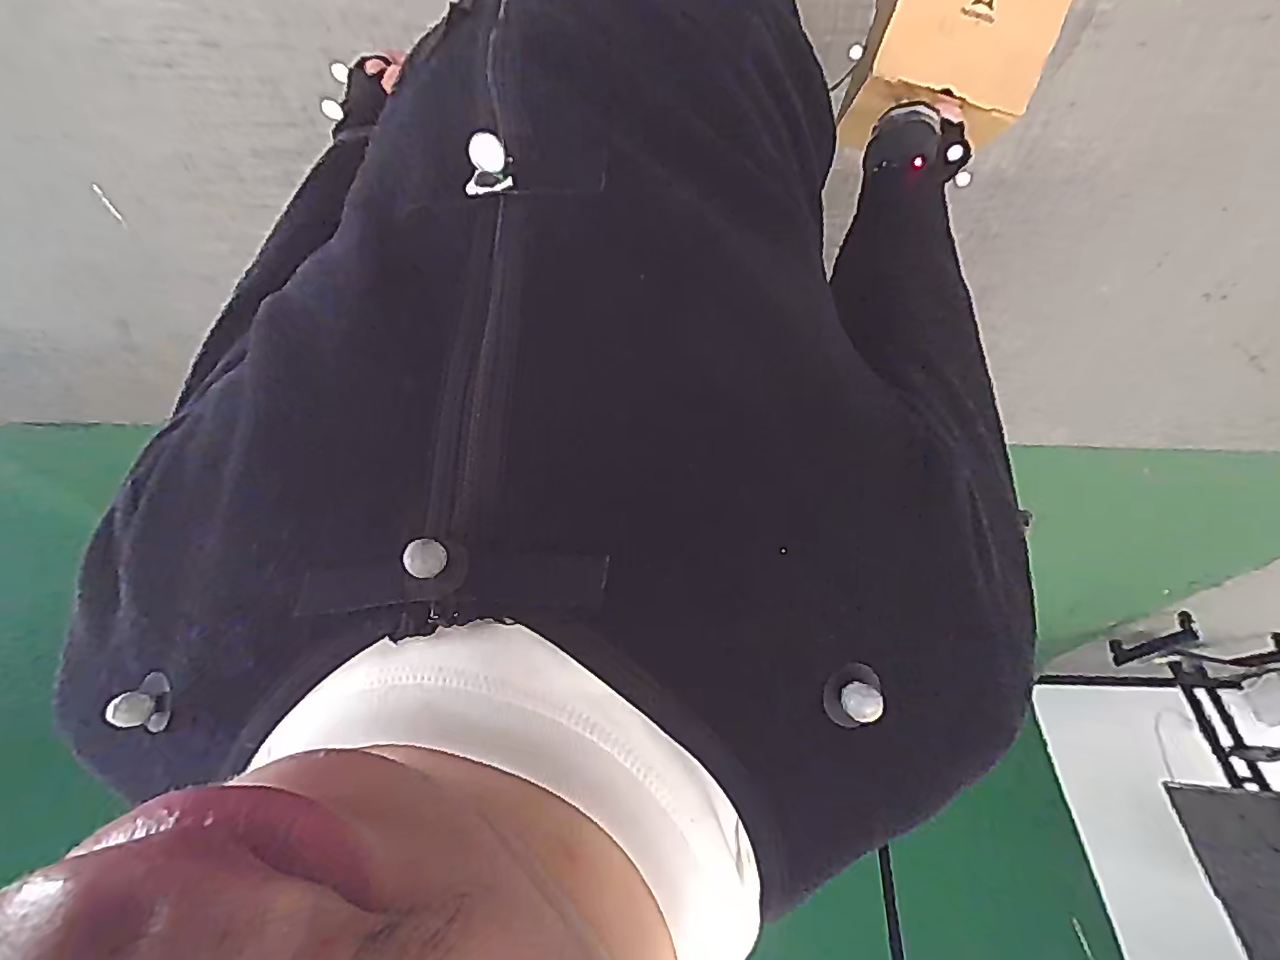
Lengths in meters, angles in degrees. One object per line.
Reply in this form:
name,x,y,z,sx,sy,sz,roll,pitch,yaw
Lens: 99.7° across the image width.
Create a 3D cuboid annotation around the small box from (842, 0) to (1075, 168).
small box,0.351,-0.494,0.616,0.168,0.176,0.179,20,101,1
